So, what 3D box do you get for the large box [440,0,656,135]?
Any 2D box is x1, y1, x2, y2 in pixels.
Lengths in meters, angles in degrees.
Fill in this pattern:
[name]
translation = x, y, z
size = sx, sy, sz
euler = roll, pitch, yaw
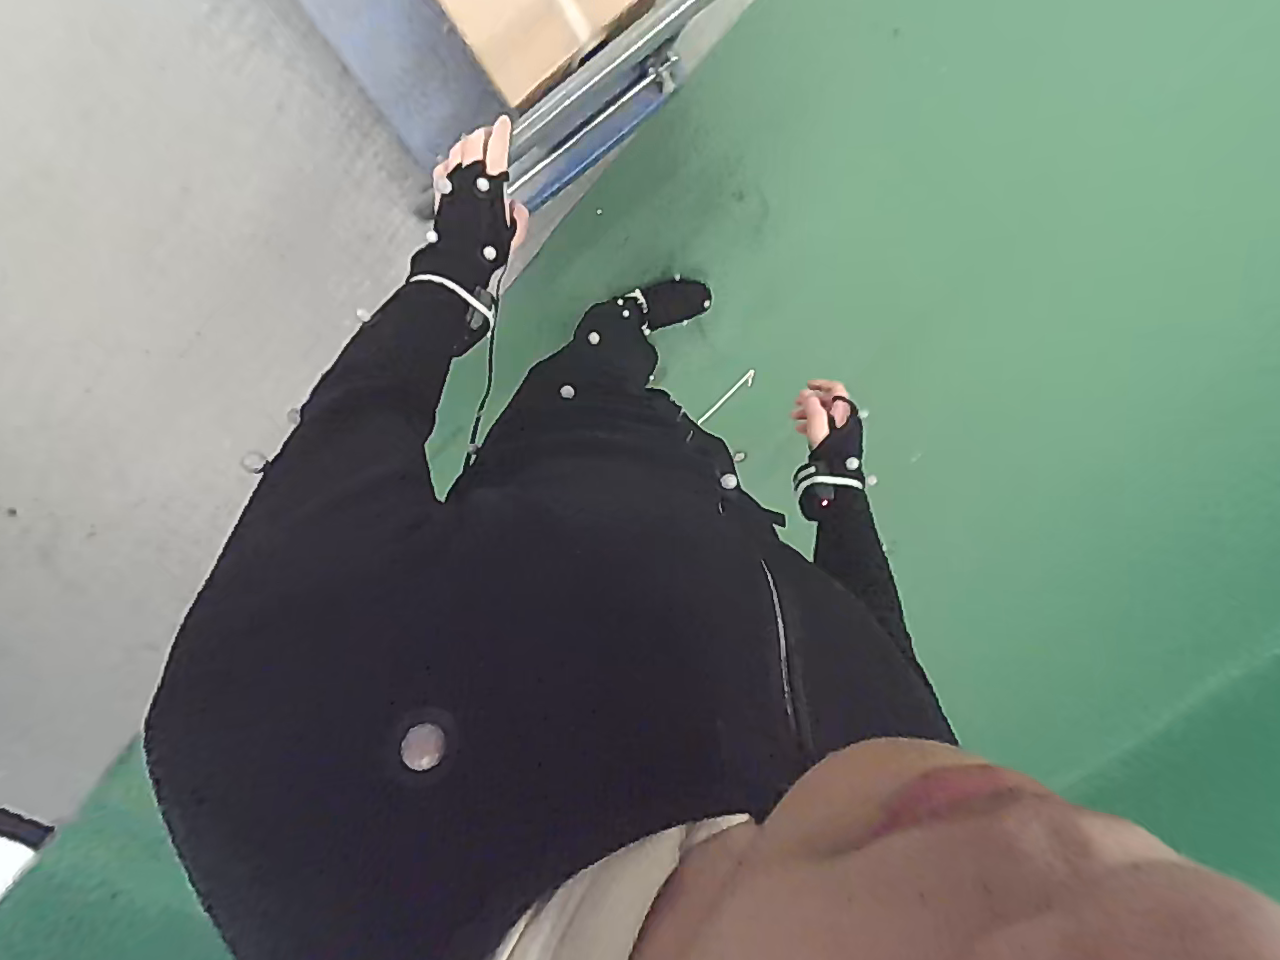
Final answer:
[large box]
translation = -0.207, -0.904, 0.924
size = 0.320, 0.320, 0.408
euler = -35, 111, 9
